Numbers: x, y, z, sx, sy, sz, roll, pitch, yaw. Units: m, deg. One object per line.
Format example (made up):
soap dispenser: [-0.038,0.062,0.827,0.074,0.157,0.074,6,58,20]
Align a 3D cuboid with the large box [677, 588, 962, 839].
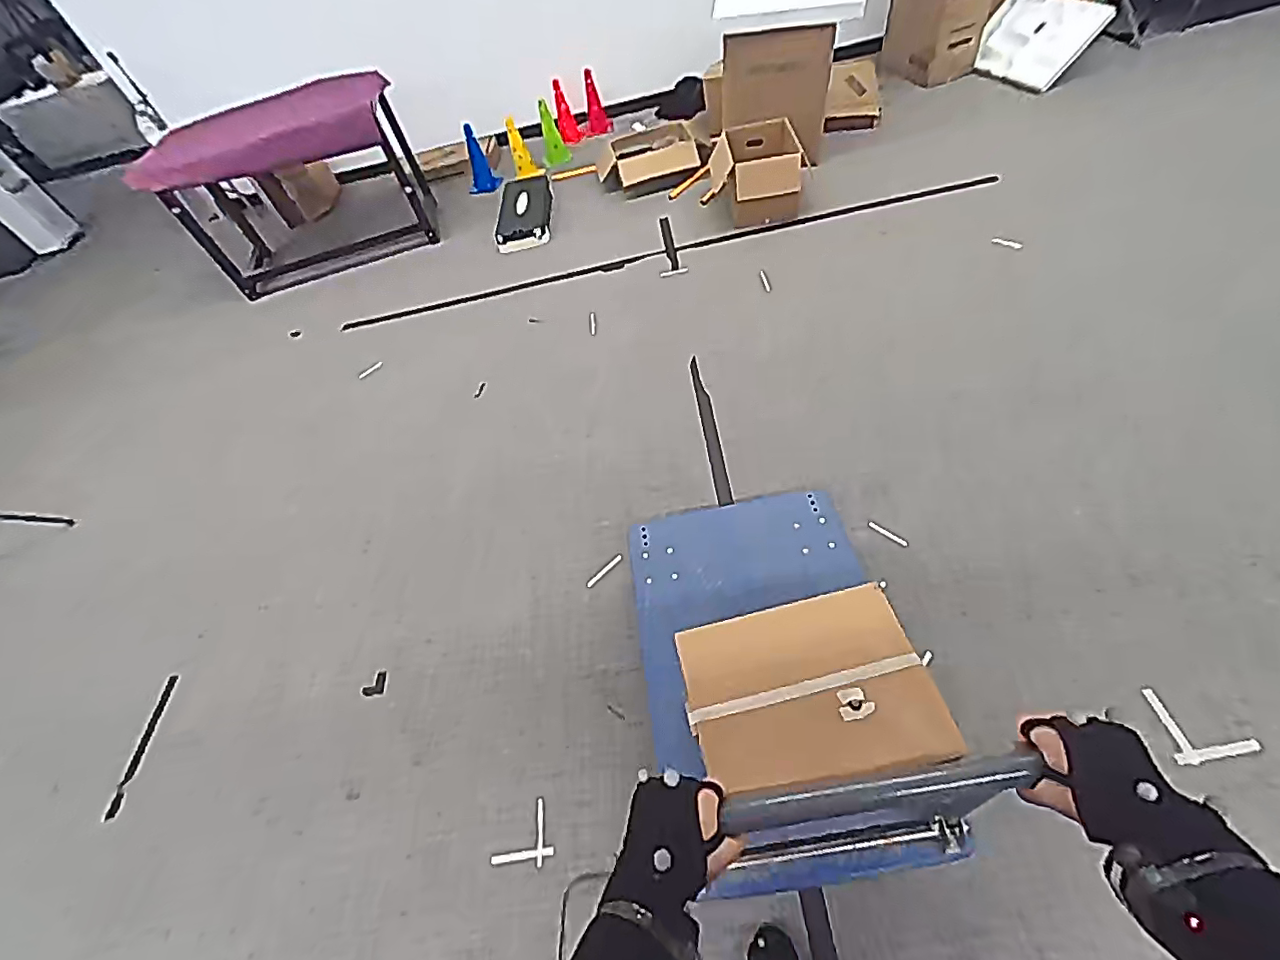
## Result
large box: [0.313,0.463,1.060,0.408,0.320,0.320,-14,51,0]
